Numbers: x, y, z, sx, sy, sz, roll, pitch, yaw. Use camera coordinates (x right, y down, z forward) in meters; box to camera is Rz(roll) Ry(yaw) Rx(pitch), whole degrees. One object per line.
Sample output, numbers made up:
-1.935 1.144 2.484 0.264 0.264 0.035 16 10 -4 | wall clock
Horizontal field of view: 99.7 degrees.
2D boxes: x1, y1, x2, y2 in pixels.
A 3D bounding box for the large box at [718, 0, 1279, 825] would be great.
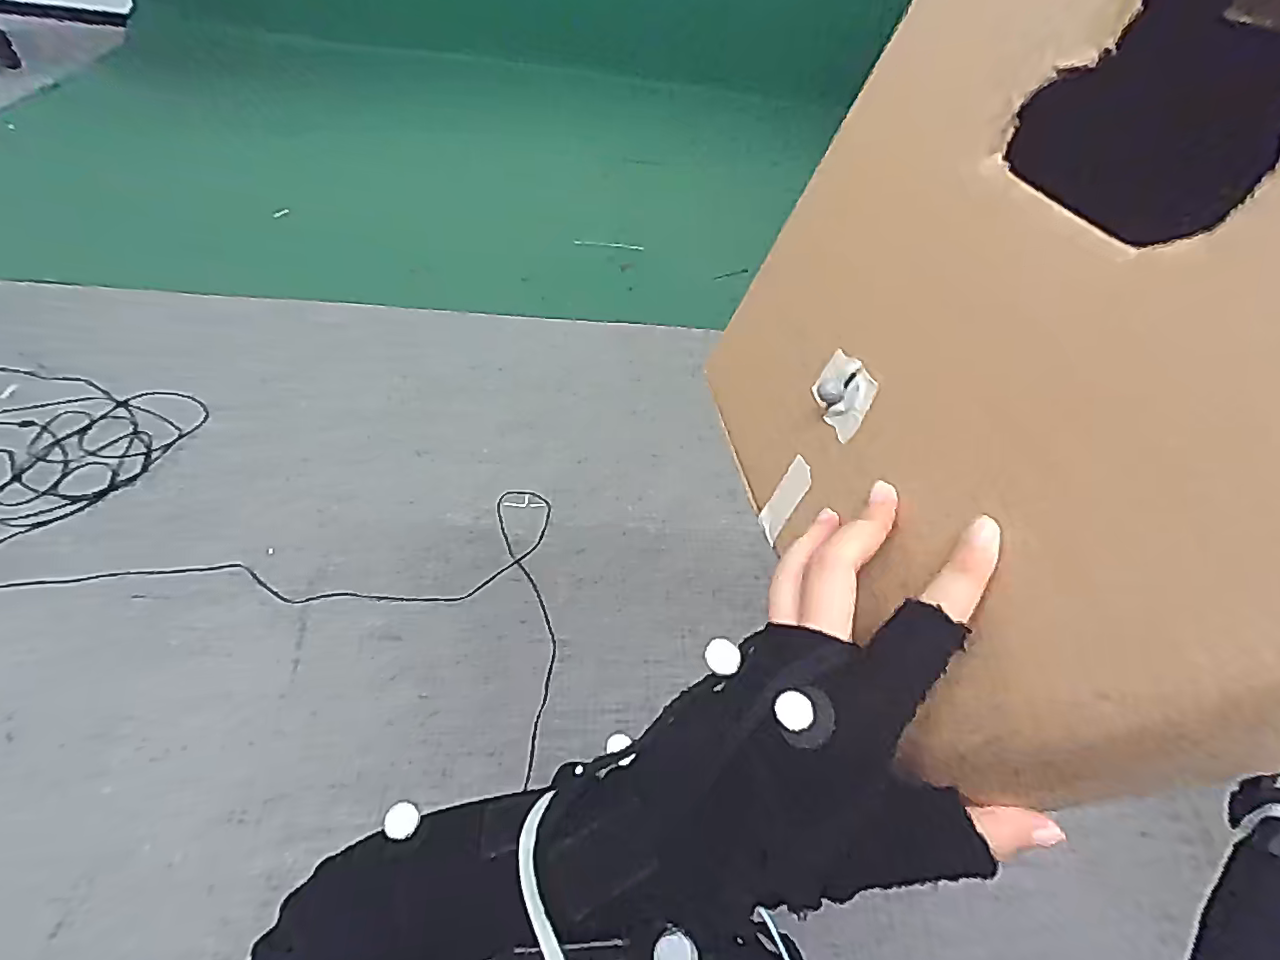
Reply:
0.318 -0.038 0.308 0.408 0.320 0.320 9 46 -24 | large box
